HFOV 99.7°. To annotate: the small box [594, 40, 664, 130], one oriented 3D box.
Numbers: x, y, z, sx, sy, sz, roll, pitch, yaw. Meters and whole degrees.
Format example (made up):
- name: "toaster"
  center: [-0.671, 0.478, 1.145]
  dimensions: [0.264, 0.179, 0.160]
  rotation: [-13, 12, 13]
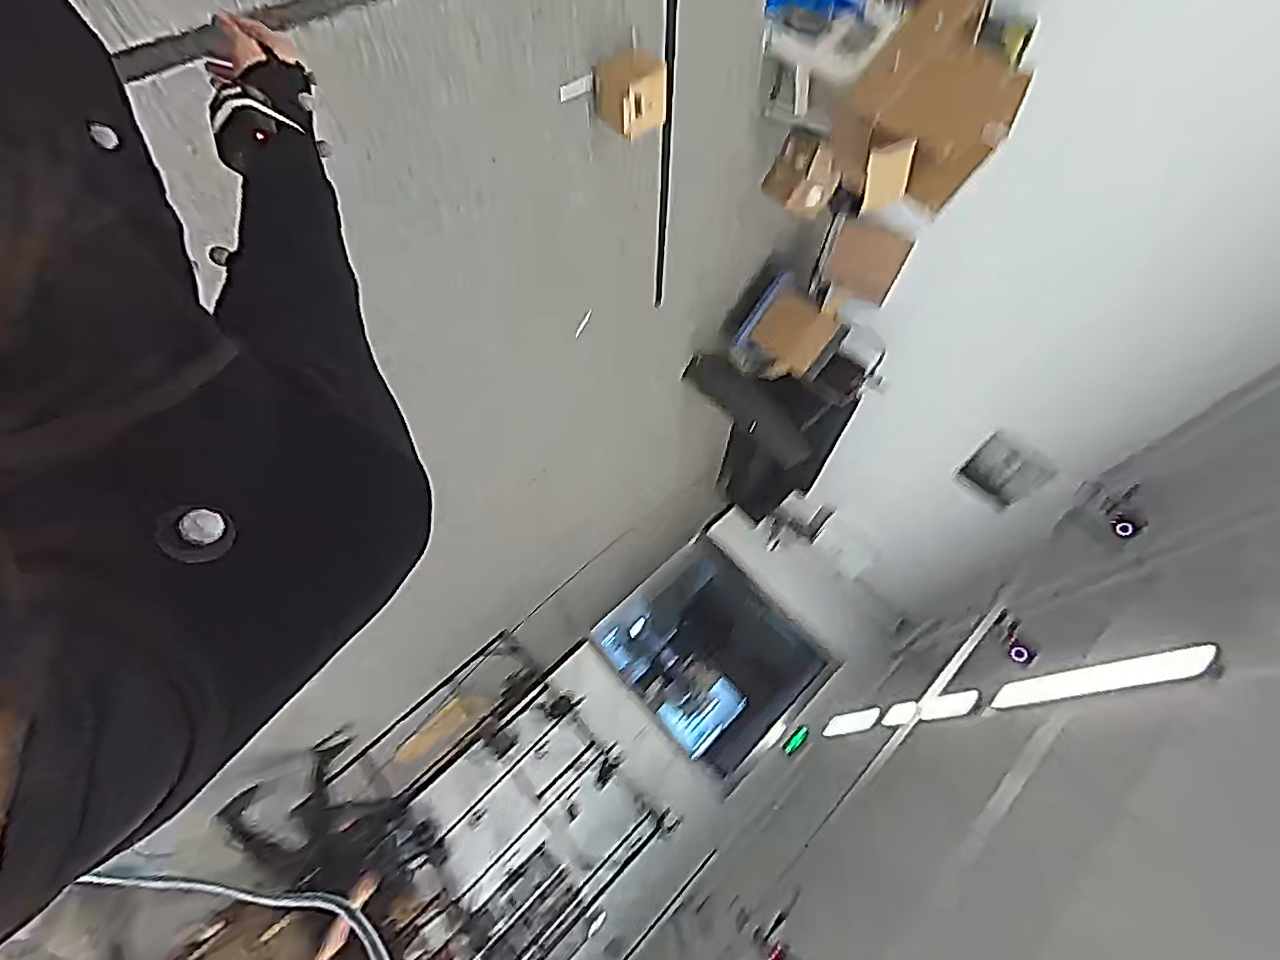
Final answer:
- name: "small box"
  center: [-0.040, -1.322, 1.810]
  dimensions: [0.179, 0.176, 0.168]
  rotation: [-41, 160, -17]
